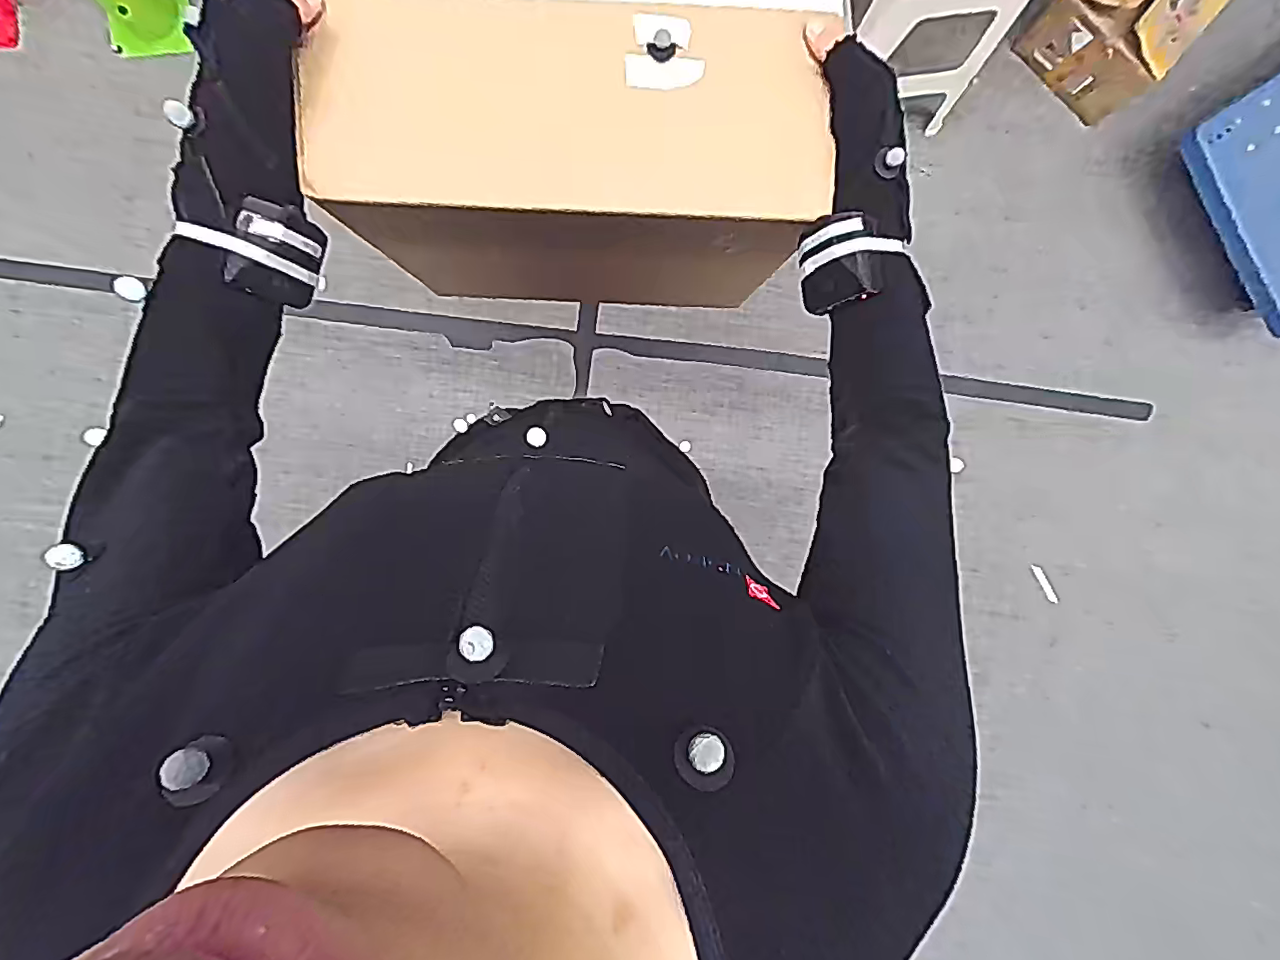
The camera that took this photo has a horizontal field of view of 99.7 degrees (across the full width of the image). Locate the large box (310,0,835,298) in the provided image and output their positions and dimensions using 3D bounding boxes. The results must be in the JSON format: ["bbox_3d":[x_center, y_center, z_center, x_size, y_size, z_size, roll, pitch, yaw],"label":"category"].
[{"bbox_3d":[-0.056,-0.384,0.557,0.408,0.320,0.320,1,96,-3],"label":"large box"}]
